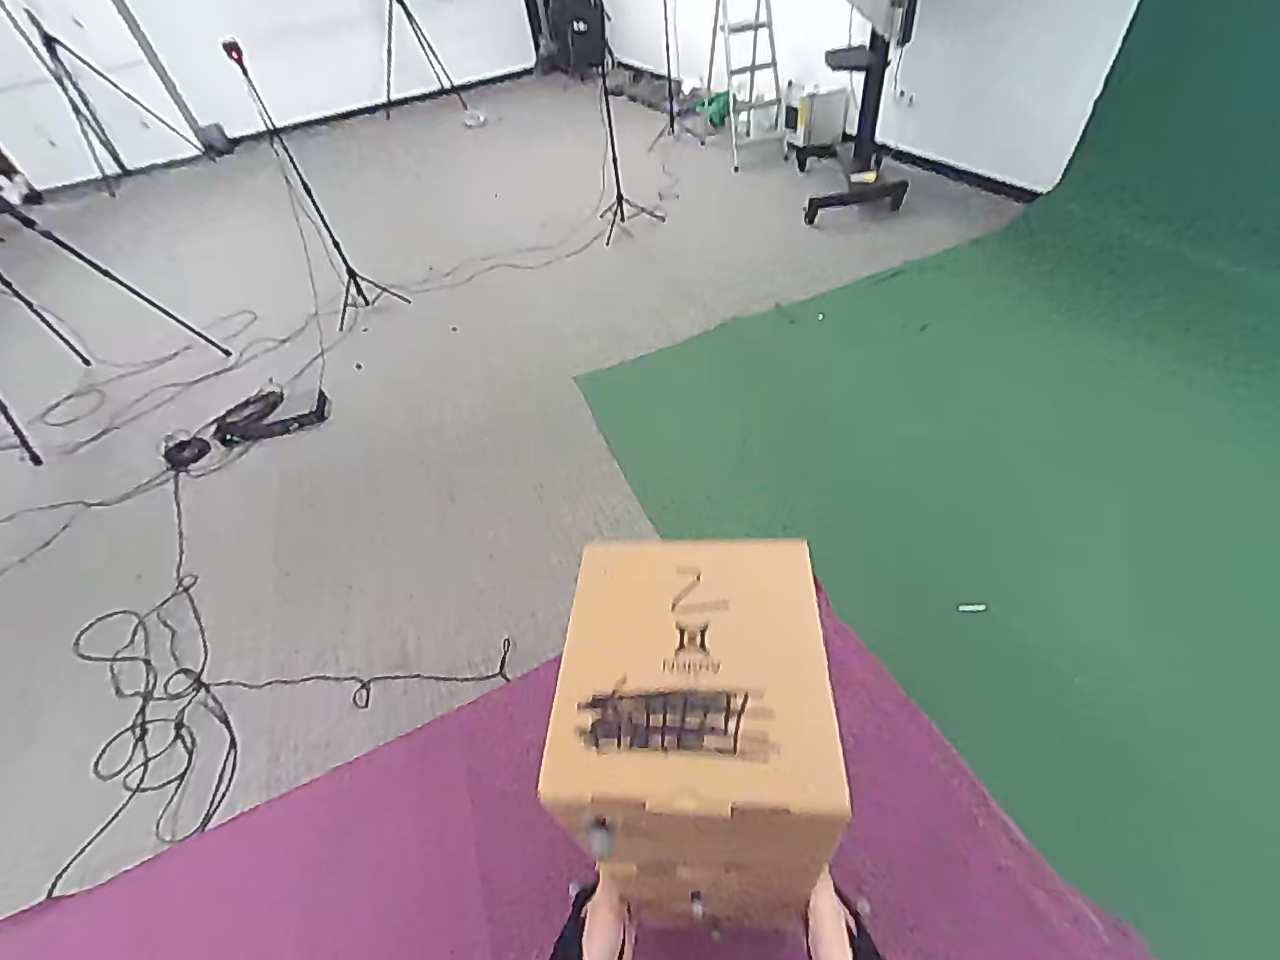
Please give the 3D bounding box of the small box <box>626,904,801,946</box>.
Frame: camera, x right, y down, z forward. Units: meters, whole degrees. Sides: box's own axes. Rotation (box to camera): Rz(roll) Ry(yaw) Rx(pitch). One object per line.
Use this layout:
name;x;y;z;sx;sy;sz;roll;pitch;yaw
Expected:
small box;0.081;0.404;0.616;0.168;0.176;0.179;-4;45;7

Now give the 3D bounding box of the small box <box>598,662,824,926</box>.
small box;0.061;0.290;0.503;0.168;0.176;0.179;-3;46;6
